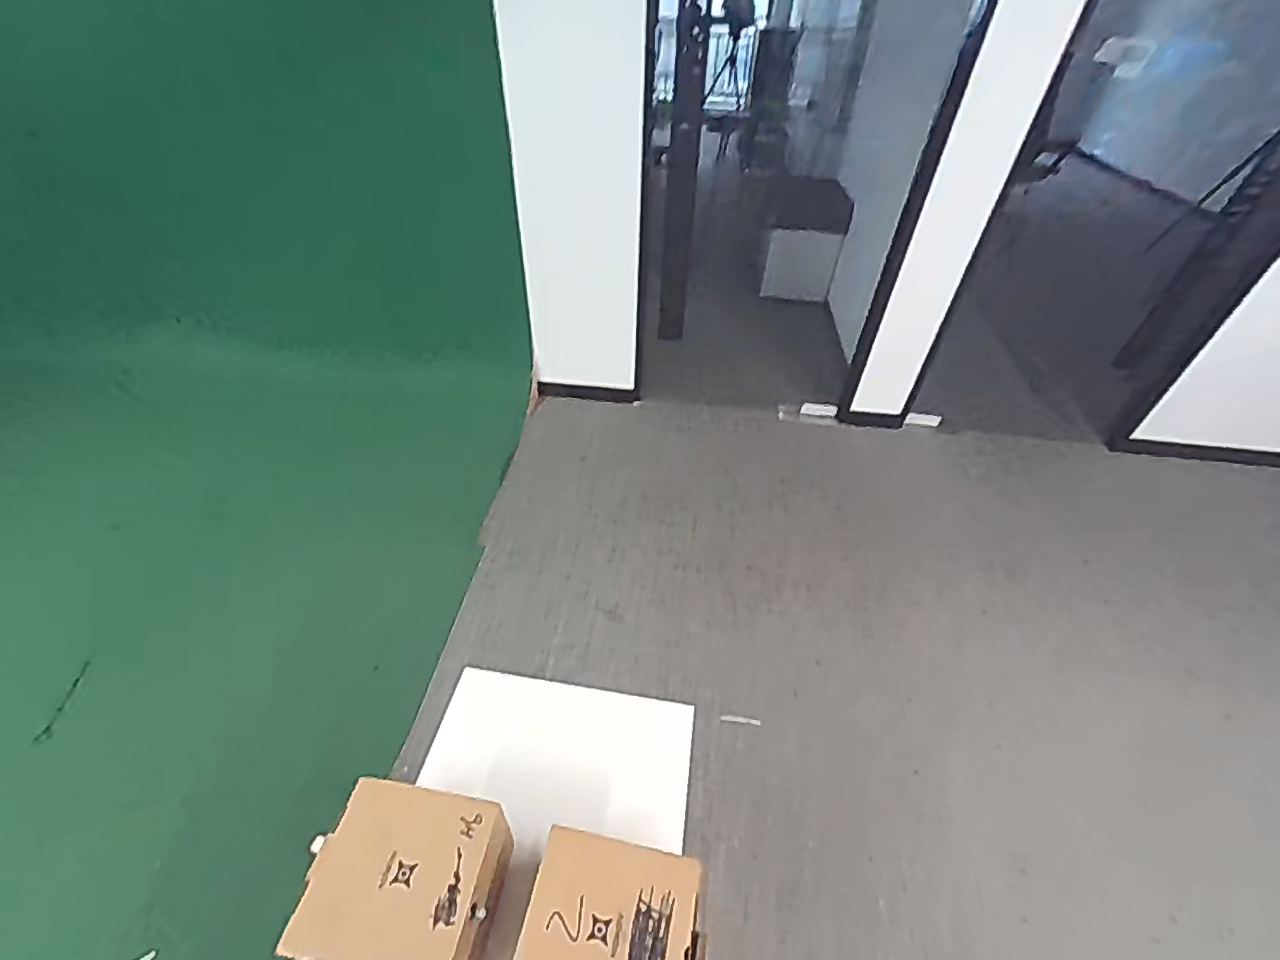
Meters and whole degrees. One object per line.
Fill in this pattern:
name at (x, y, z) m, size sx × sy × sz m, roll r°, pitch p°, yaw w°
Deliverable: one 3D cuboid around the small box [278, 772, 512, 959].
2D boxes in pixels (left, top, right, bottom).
small box at (-0.267, 0.475, 0.640) m, size 0.179 × 0.176 × 0.168 m, roll 8°, pitch 44°, yaw 4°
